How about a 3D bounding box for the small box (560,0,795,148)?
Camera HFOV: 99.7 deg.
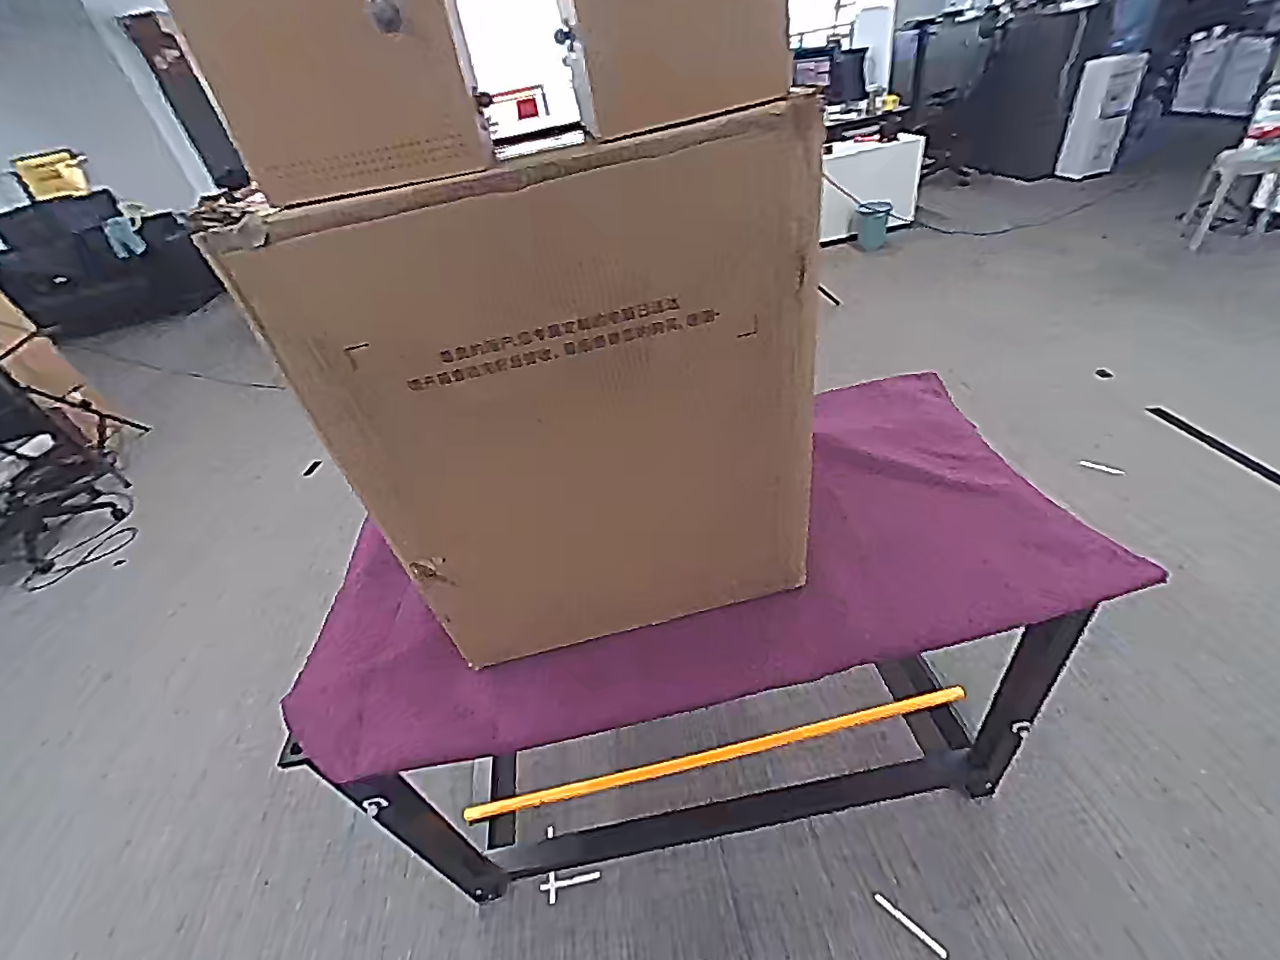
[{"bbox_3d":[0.022,-0.403,0.458,0.168,0.176,0.179,-15,38,-2],"label":"small box"}]
